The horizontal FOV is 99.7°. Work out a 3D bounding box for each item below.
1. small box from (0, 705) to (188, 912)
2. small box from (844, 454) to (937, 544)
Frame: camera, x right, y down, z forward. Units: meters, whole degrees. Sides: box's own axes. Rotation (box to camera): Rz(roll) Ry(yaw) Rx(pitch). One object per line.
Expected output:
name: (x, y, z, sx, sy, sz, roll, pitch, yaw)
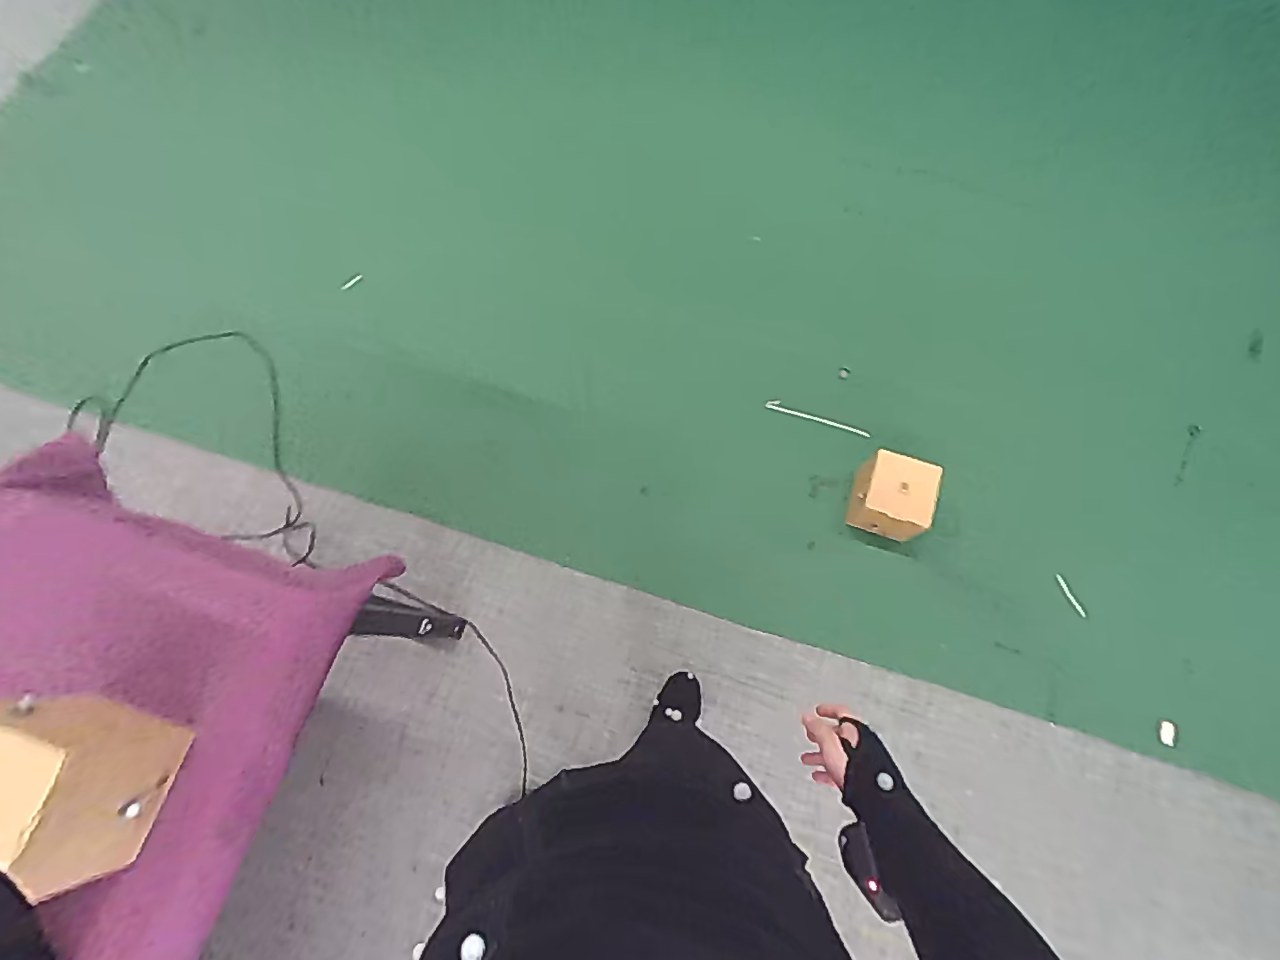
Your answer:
small box: (-0.722, 0.382, 0.652, 0.179, 0.176, 0.168, 15, 74, 7)
small box: (0.678, 0.057, 1.480, 0.168, 0.176, 0.179, 18, 74, 7)
